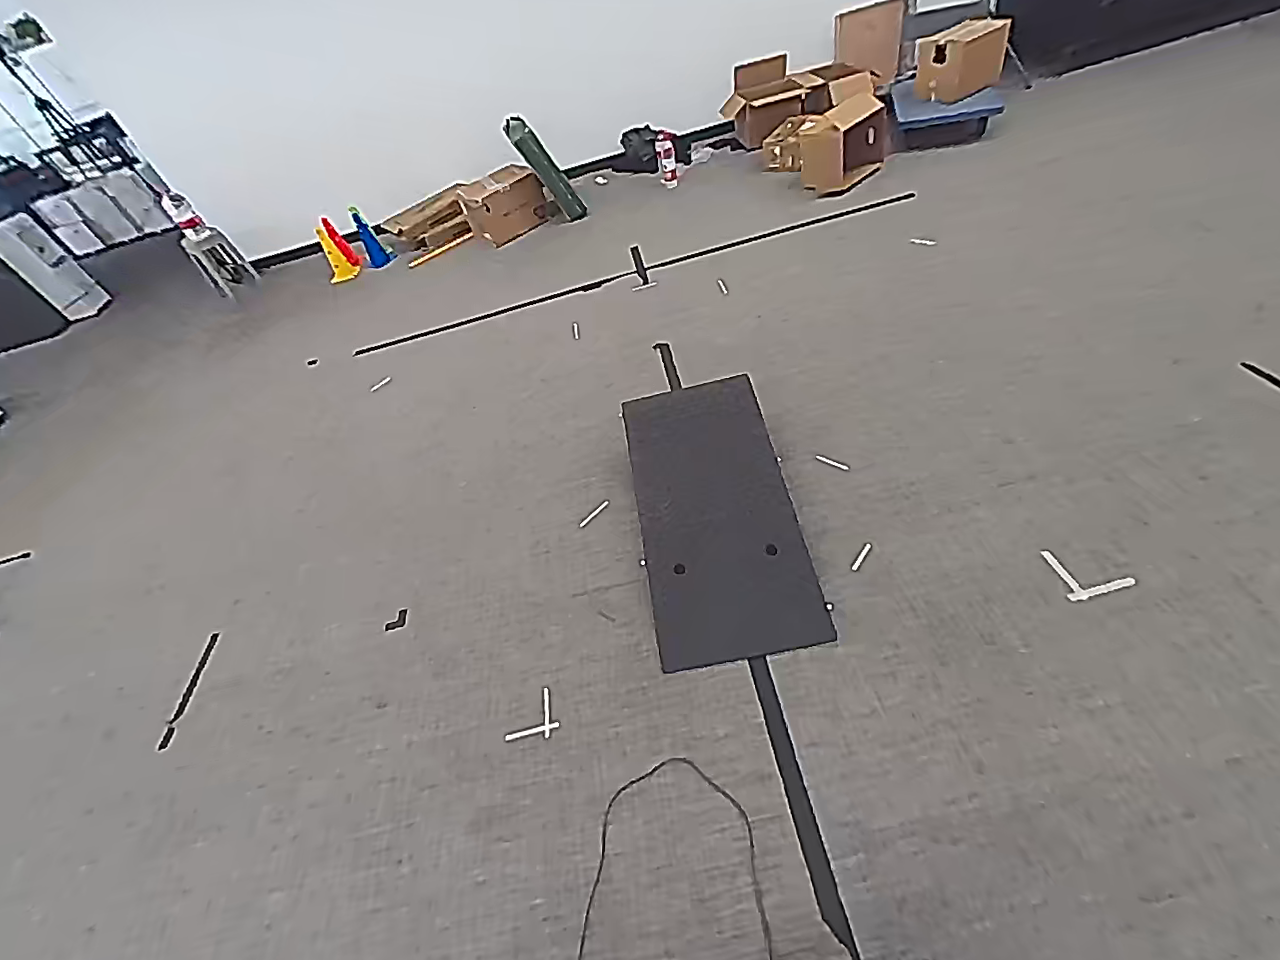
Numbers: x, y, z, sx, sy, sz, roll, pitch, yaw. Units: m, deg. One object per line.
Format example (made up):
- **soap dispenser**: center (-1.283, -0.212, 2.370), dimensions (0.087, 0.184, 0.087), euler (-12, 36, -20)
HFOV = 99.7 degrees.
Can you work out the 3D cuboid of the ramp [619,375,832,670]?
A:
- **ramp**: center (0.227, 0.073, 1.768), dimensions (0.509, 0.206, 0.991), euler (-13, 47, 3)
